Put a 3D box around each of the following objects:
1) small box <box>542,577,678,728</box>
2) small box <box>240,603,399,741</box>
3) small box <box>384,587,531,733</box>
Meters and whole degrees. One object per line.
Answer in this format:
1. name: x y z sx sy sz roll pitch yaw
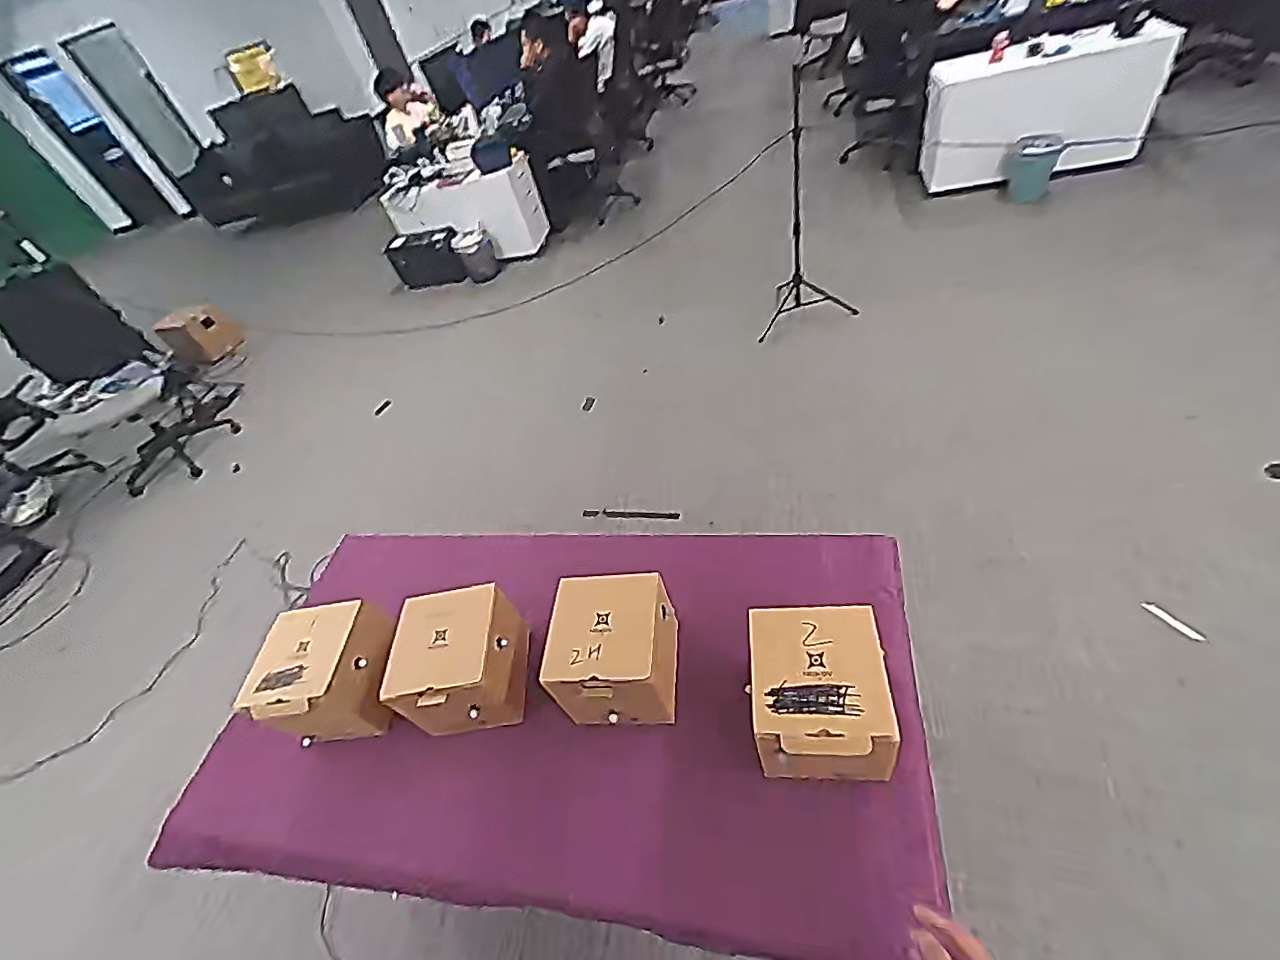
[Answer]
1. small box: -0.036 0.276 0.864 0.168 0.176 0.179 -6 46 13
2. small box: -0.539 0.345 0.957 0.168 0.176 0.179 -10 45 8
3. small box: -0.294 0.311 0.915 0.168 0.176 0.179 -11 45 7
